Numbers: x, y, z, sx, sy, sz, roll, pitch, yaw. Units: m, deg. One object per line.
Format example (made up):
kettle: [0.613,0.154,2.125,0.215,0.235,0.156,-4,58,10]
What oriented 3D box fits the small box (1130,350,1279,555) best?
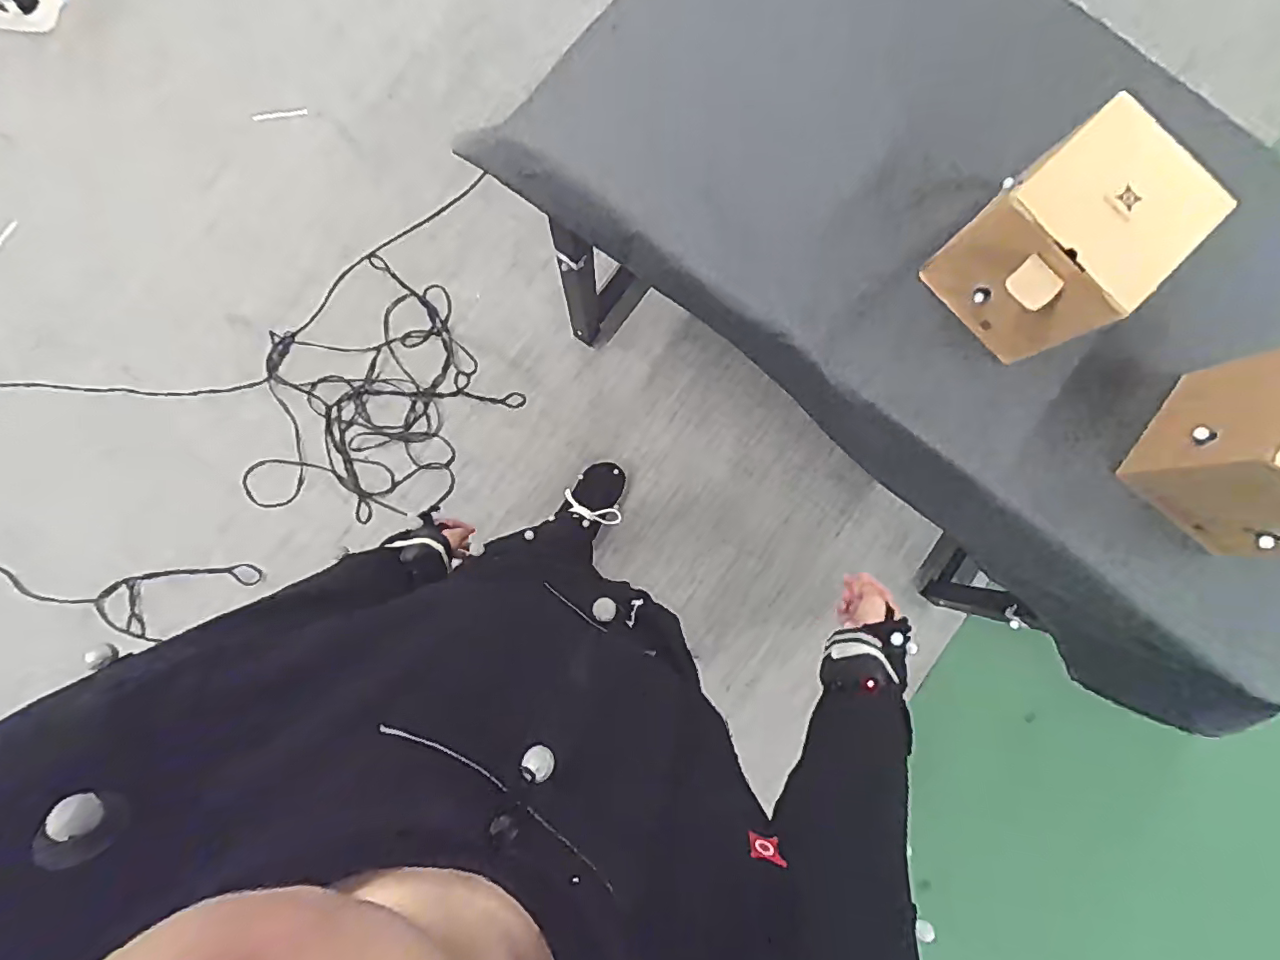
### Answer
small box: [0.714,-0.027,0.603,0.168,0.176,0.179,38,83,-1]

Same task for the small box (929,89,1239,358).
small box: [0.475,-0.269,0.608,0.179,0.176,0.168,-44,89,-6]
